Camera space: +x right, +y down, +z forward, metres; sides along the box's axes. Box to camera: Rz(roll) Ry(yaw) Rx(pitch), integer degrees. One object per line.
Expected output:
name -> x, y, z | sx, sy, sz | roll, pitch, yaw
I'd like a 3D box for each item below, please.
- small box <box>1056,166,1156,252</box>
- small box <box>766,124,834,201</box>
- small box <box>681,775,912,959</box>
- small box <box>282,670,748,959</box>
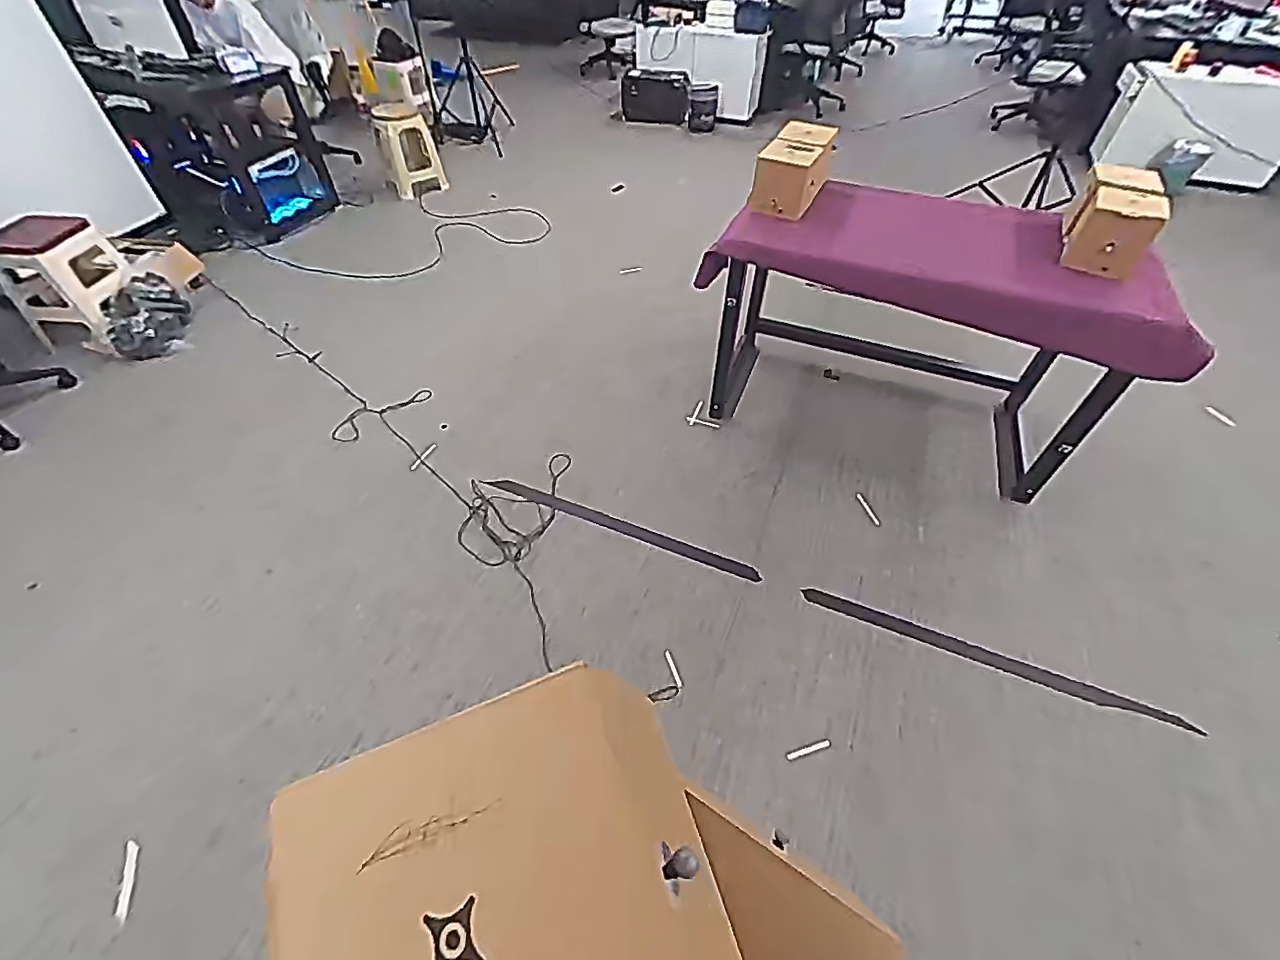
small box -> 1.392, -0.817, 1.629 | 0.168, 0.176, 0.179 | 21, 51, 16
small box -> 0.544, -1.089, 1.855 | 0.168, 0.176, 0.179 | 21, 53, 17
small box -> 0.060, 0.342, 0.392 | 0.179, 0.176, 0.168 | 25, 69, 22
small box -> -0.050, 0.227, 0.286 | 0.168, 0.176, 0.179 | -24, 58, 0
